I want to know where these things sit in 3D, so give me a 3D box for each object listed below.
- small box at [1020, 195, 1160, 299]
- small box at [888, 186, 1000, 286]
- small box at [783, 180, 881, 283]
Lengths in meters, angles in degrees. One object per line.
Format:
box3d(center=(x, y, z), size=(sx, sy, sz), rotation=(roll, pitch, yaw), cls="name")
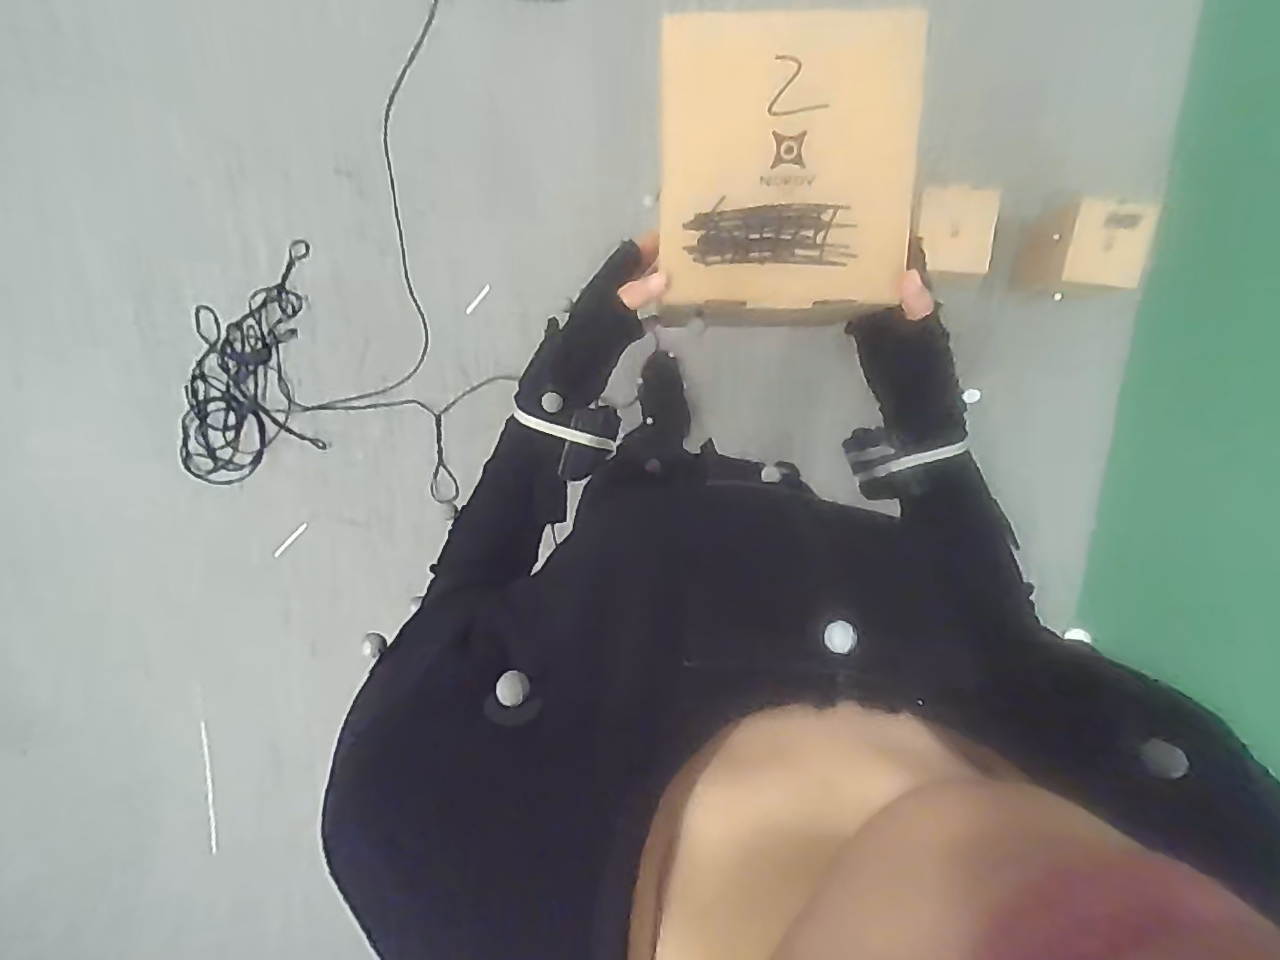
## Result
box3d(center=(1.019, -0.528, 1.244), size=(0.168, 0.176, 0.179), rotation=(8, 100, 2), cls="small box")
box3d(center=(0.696, -0.560, 1.259), size=(0.168, 0.176, 0.179), rotation=(4, 98, 3), cls="small box")
box3d(center=(0.440, -0.575, 1.267), size=(0.168, 0.176, 0.179), rotation=(5, 100, 3), cls="small box")
